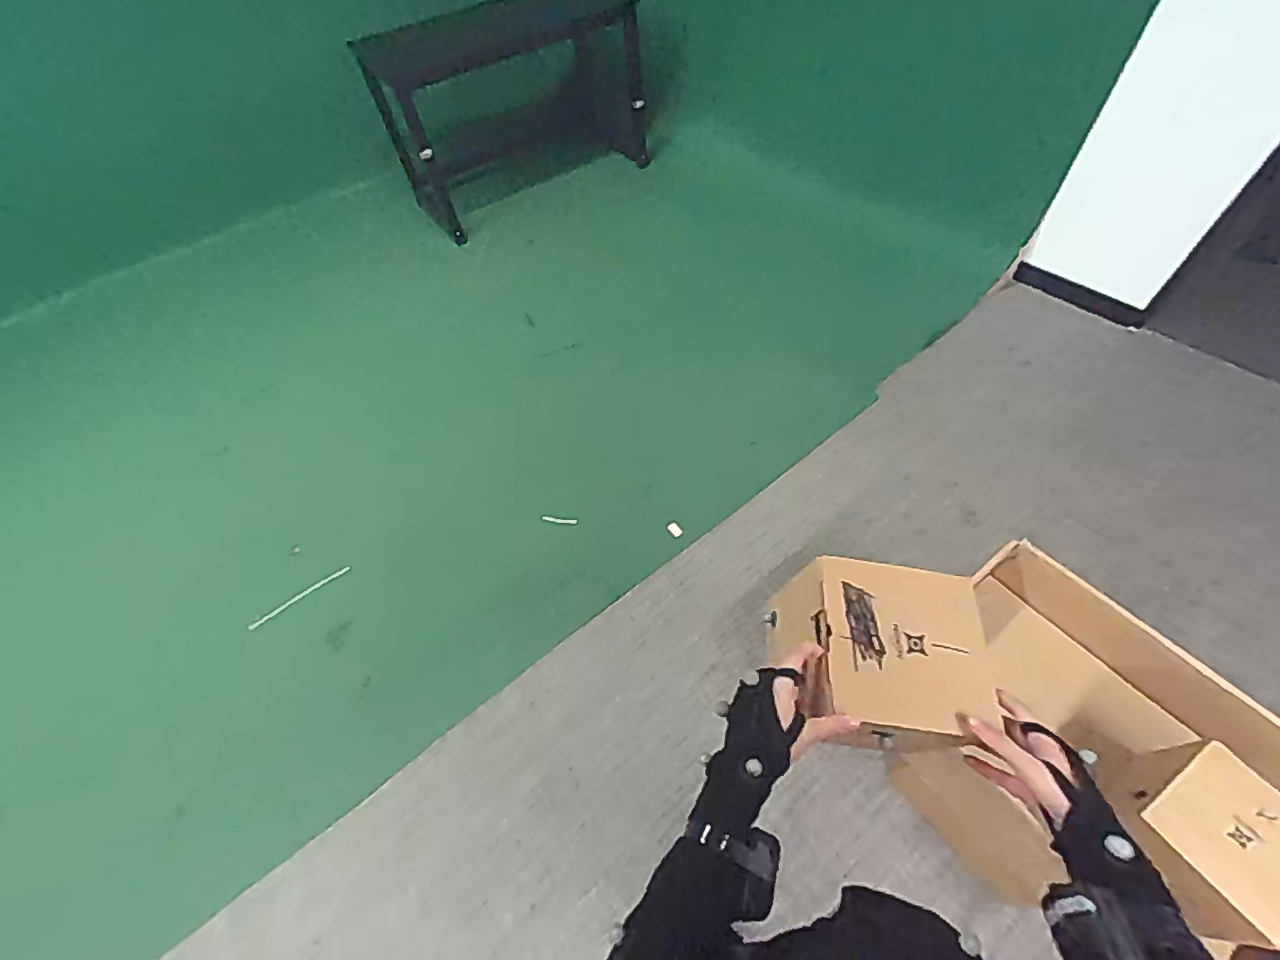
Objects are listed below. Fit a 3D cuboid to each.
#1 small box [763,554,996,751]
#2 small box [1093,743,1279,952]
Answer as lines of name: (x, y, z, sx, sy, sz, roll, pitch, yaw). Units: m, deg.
small box: (0.244, 0.200, 0.608, 0.179, 0.176, 0.168, 9, 58, -5)
small box: (0.787, 0.503, 0.748, 0.179, 0.176, 0.168, -30, 57, -14)
